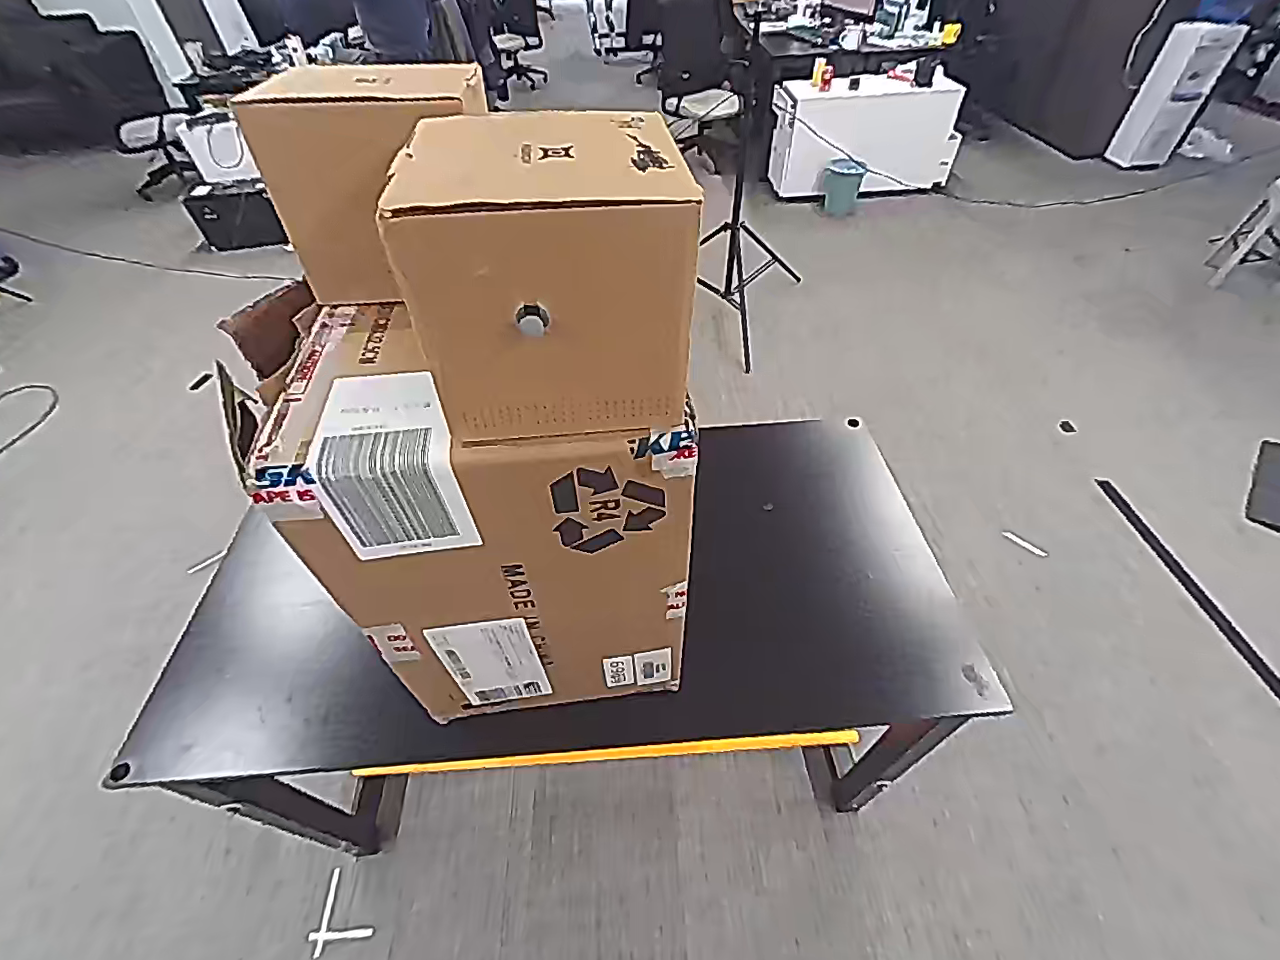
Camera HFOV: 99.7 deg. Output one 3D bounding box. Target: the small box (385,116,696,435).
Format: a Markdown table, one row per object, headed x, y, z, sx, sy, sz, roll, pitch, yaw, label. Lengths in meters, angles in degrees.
| x | y | z | sx | sy | sz | roll | pitch | yaw | label |
| --- | --- | --- | --- | --- | --- | --- | --- | --- | --- |
| -0.060 | -0.149 | 0.408 | 0.179 | 0.176 | 0.168 | -6 | 50 | -4 | small box |

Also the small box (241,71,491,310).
| x | y | z | sx | sy | sz | roll | pitch | yaw | label |
| --- | --- | --- | --- | --- | --- | --- | --- | --- | --- |
| -0.232 | -0.285 | 0.535 | 0.179 | 0.176 | 0.168 | -6 | 45 | -5 | small box |
